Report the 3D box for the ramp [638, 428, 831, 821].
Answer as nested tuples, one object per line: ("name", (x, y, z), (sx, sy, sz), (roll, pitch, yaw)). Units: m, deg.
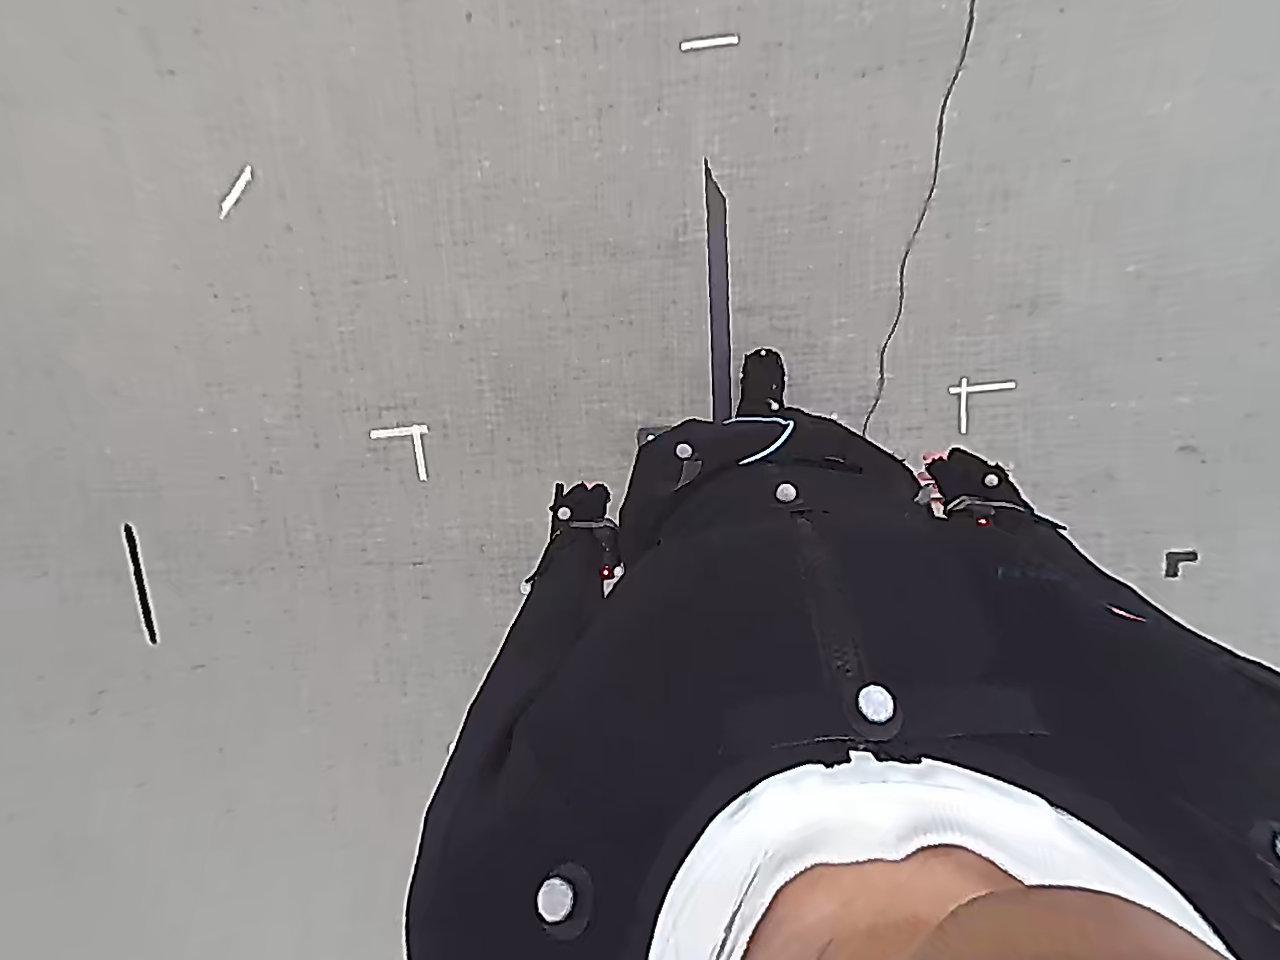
("ramp", (0.237, 0.365, 1.417), (0.509, 0.206, 0.991), (-2, 97, 8))
